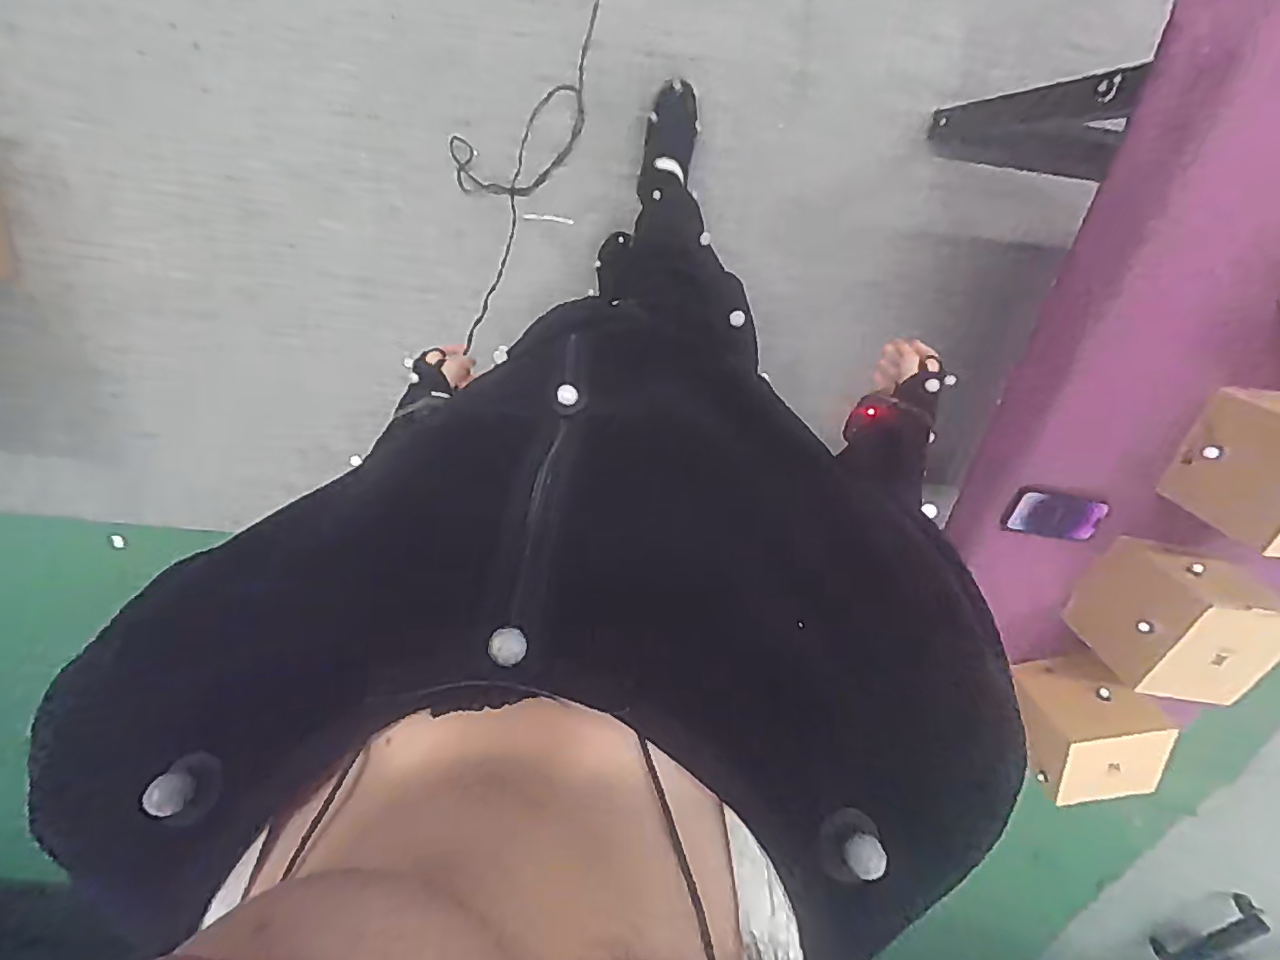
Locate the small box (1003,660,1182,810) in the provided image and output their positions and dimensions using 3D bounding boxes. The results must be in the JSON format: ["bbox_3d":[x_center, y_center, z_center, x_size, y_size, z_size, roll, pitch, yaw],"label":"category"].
[{"bbox_3d":[0.776,0.437,0.950,0.168,0.176,0.179,-12,118,5],"label":"small box"}]

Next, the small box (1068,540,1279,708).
[{"bbox_3d":[0.821,0.213,0.829,0.168,0.176,0.179,10,118,-5],"label":"small box"}]

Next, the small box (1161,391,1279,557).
[{"bbox_3d":[0.867,-0.010,0.706,0.179,0.176,0.168,4,118,-2],"label":"small box"}]
